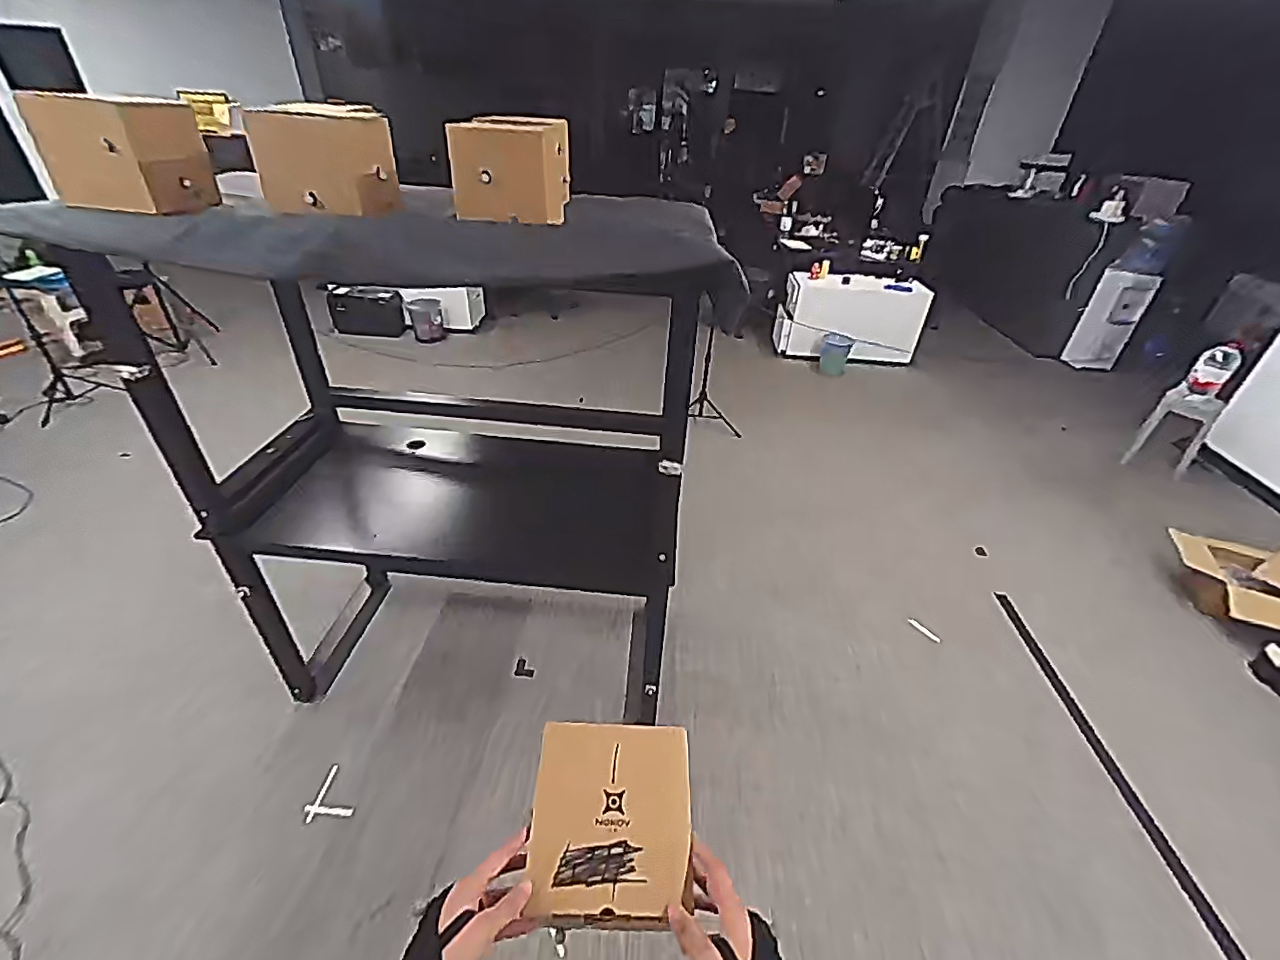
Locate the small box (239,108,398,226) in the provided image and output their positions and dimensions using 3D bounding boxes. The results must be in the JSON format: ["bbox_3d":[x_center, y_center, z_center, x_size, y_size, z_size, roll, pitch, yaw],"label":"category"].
[{"bbox_3d":[-0.565,-0.567,0.983,0.179,0.176,0.168,5,33,0],"label":"small box"}]

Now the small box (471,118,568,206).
[{"bbox_3d":[-0.266,-0.724,1.236,0.179,0.176,0.168,5,35,2],"label":"small box"}]

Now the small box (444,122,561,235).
[{"bbox_3d":[-0.241,-0.559,1.001,0.168,0.176,0.179,3,34,0],"label":"small box"}]

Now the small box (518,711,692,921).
[{"bbox_3d":[-0.033,0.382,0.612,0.168,0.176,0.179,3,47,-2],"label":"small box"}]
